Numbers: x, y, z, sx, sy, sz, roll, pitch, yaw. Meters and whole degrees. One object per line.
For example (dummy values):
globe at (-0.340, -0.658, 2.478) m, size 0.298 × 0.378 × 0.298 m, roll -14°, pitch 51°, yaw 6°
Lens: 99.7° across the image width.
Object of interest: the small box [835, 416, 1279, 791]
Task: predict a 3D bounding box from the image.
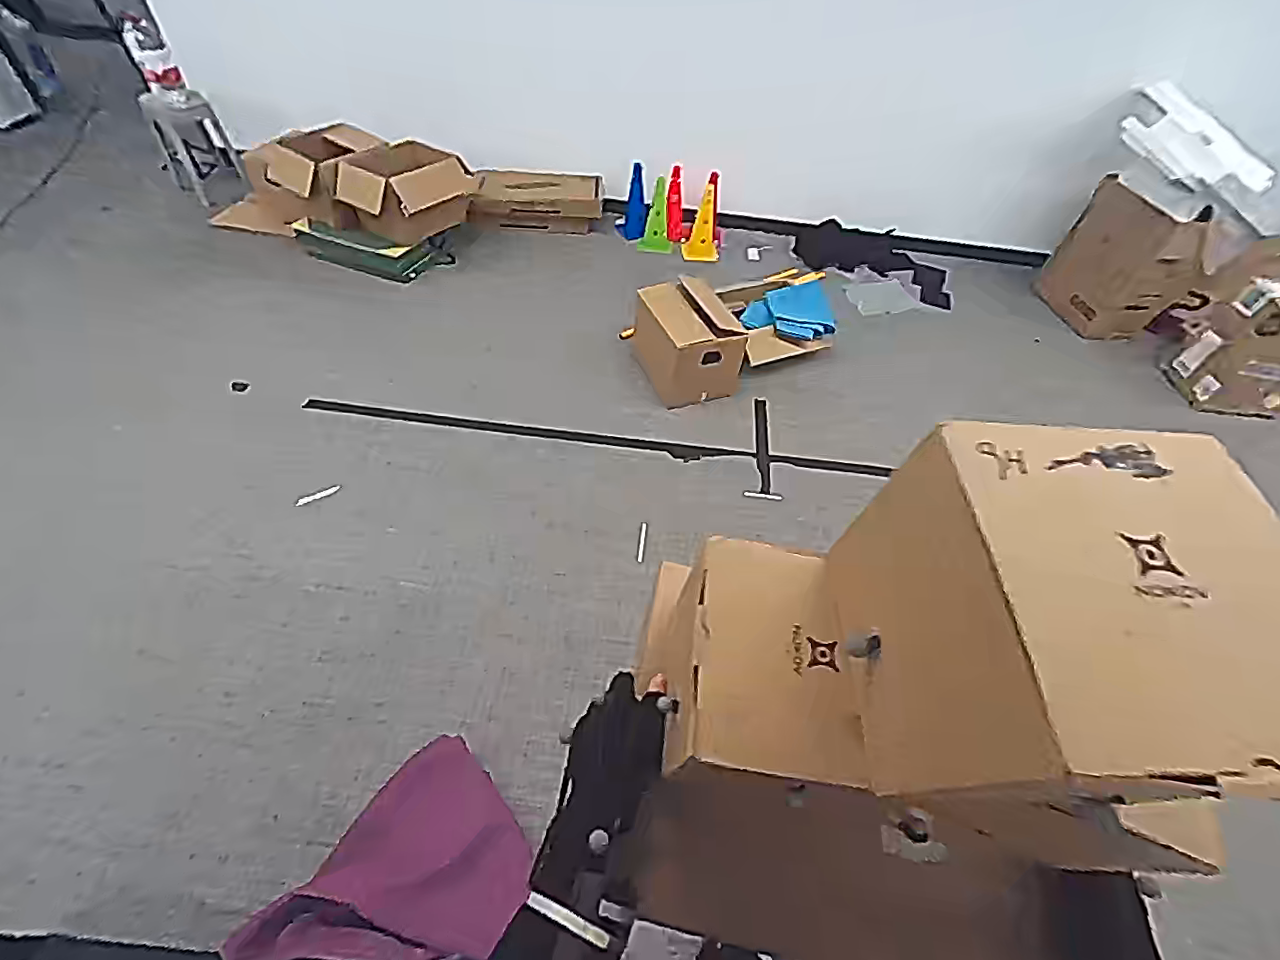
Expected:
small box at (0.239, 0.084, 0.328) m, size 0.168 × 0.176 × 0.179 m, roll 3°, pitch 57°, yaw -3°

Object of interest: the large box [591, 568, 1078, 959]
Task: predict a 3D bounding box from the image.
large box at (0.173, 0.344, 0.638) m, size 0.408 × 0.320 × 0.320 m, roll 13°, pitch 56°, yaw 2°

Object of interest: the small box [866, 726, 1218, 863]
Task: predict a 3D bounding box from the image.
small box at (0.315, 0.192, 0.462) m, size 0.168 × 0.176 × 0.179 m, roll 23°, pitch 56°, yaw 10°
